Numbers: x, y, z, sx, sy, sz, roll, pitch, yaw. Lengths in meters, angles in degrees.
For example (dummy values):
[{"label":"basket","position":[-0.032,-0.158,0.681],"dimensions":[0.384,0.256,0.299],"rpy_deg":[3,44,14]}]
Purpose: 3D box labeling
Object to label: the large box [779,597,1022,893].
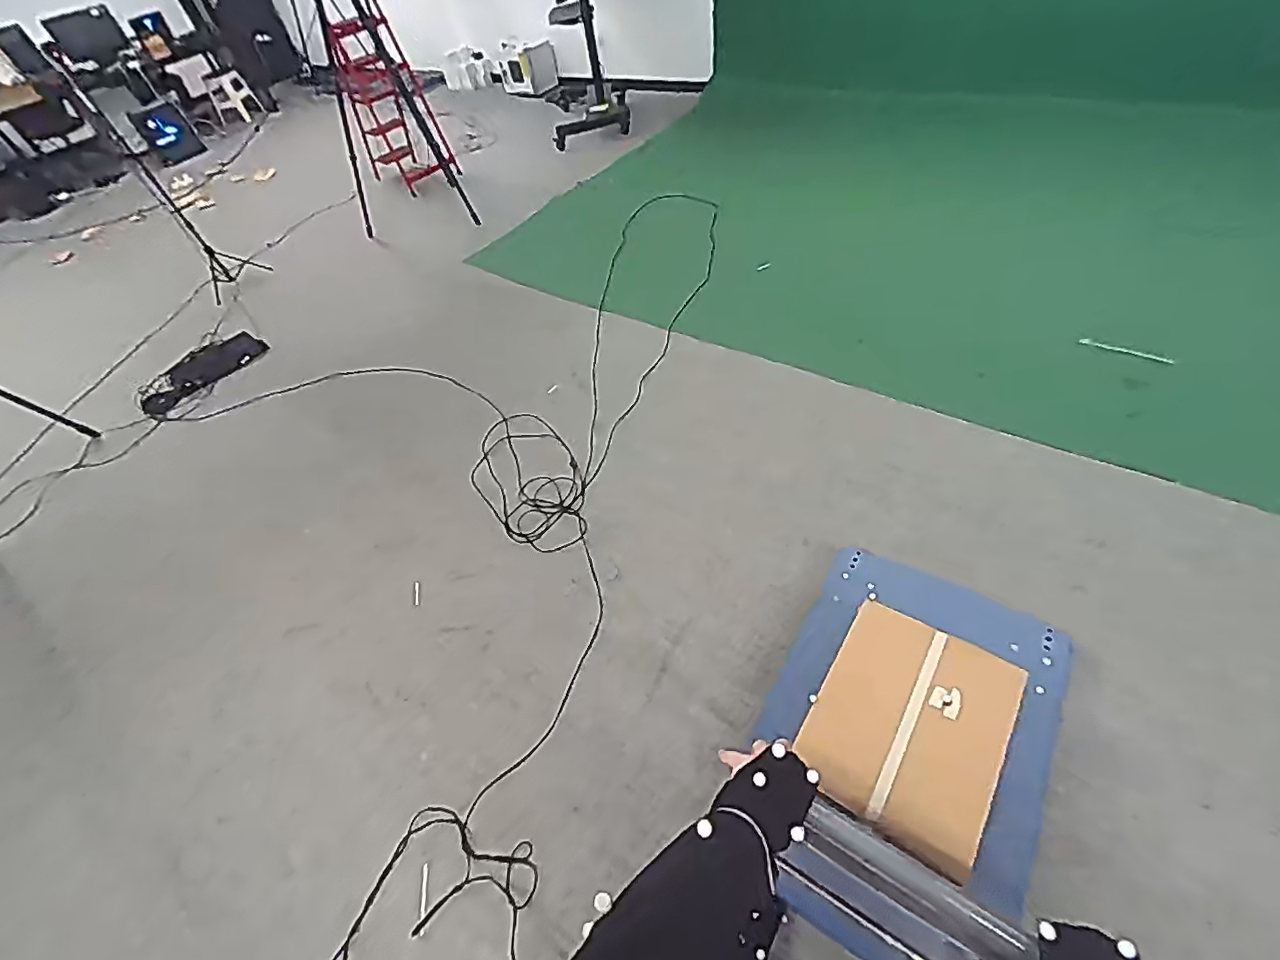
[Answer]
[{"label":"large box","position":[0.515,0.536,1.115],"dimensions":[0.320,0.320,0.408],"rpy_deg":[25,58,27]}]
